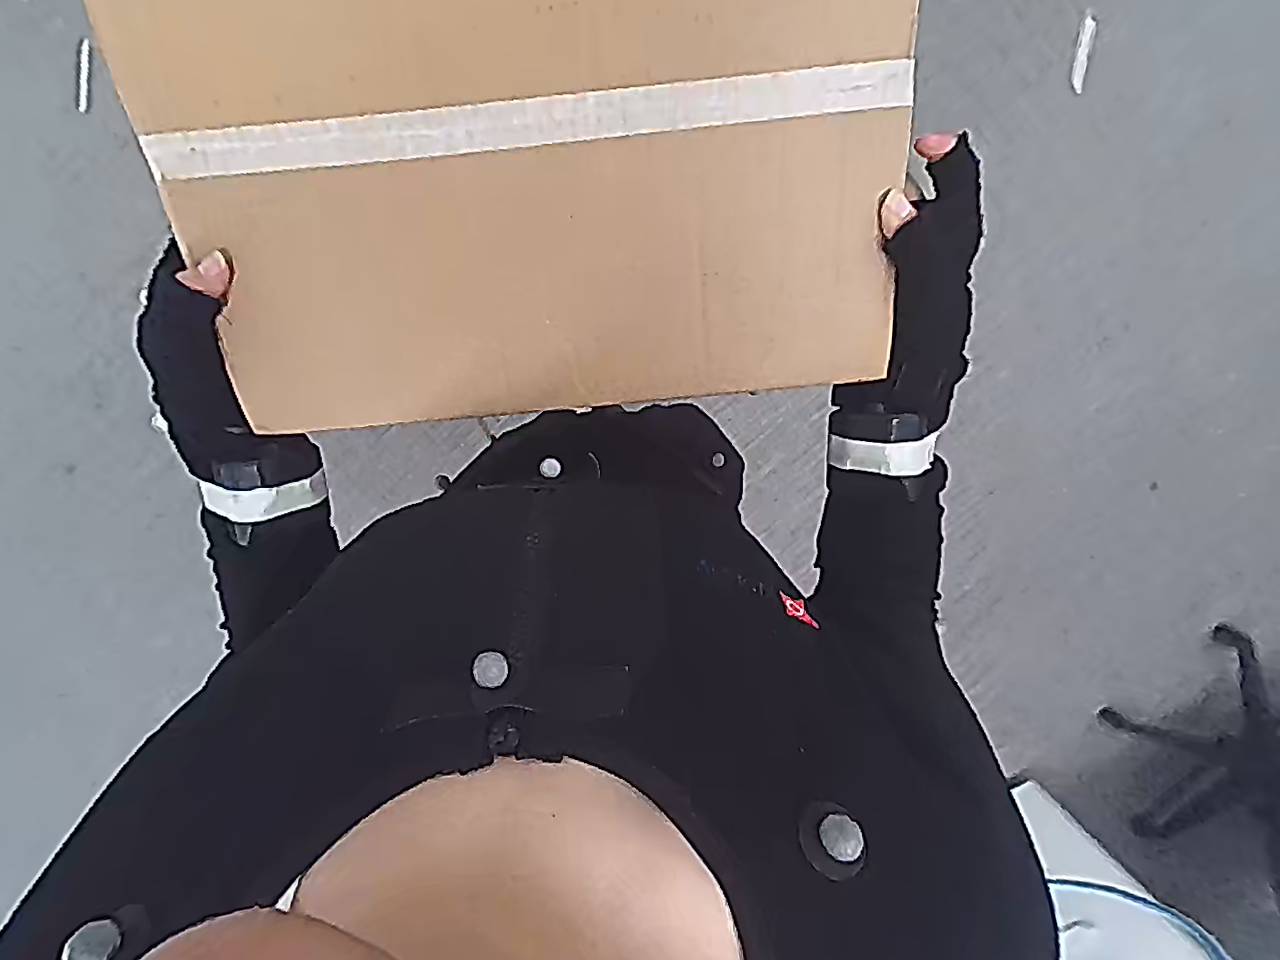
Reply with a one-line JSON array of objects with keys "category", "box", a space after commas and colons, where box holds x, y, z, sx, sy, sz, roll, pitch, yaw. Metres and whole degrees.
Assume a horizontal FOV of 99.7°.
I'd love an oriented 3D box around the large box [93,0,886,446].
[{"category": "large box", "box": [-0.068, -0.244, 0.435, 0.408, 0.320, 0.320, -6, 112, 1]}]
